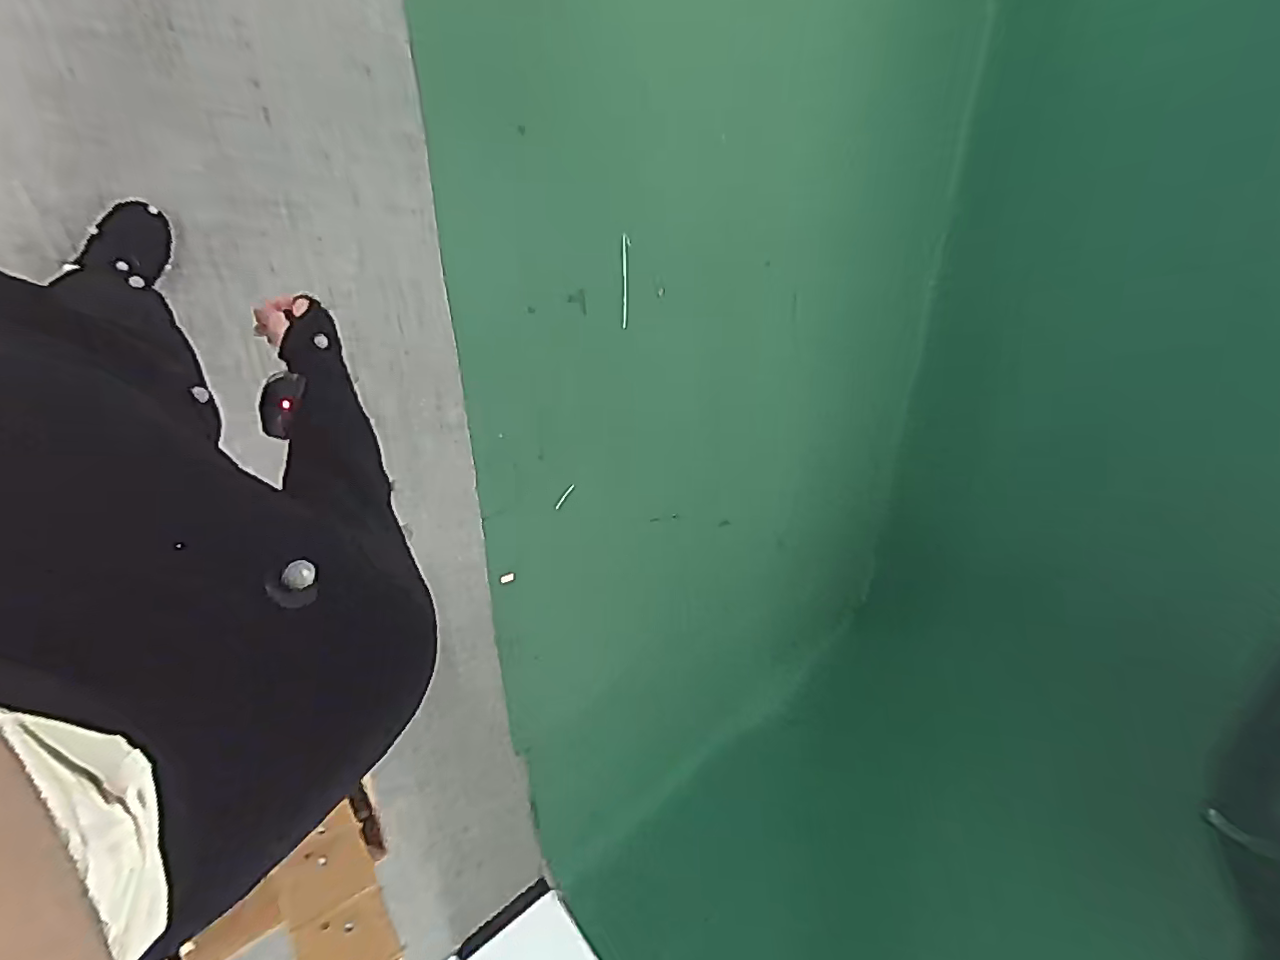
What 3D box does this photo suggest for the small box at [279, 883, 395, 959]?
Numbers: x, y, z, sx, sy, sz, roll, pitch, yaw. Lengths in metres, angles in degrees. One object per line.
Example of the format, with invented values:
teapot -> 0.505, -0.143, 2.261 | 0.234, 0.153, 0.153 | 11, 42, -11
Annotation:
small box -> -0.588, 0.956, 1.062 | 0.168, 0.176, 0.179 | -14, 117, -39

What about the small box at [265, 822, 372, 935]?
small box -> -0.692, 0.902, 1.175 | 0.168, 0.176, 0.179 | -16, 119, -39

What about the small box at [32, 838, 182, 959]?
small box -> -1.035, 0.850, 1.059 | 0.168, 0.176, 0.179 | -20, 123, -36

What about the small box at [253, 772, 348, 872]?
small box -> -0.797, 0.848, 1.288 | 0.168, 0.176, 0.179 | -18, 121, -37
